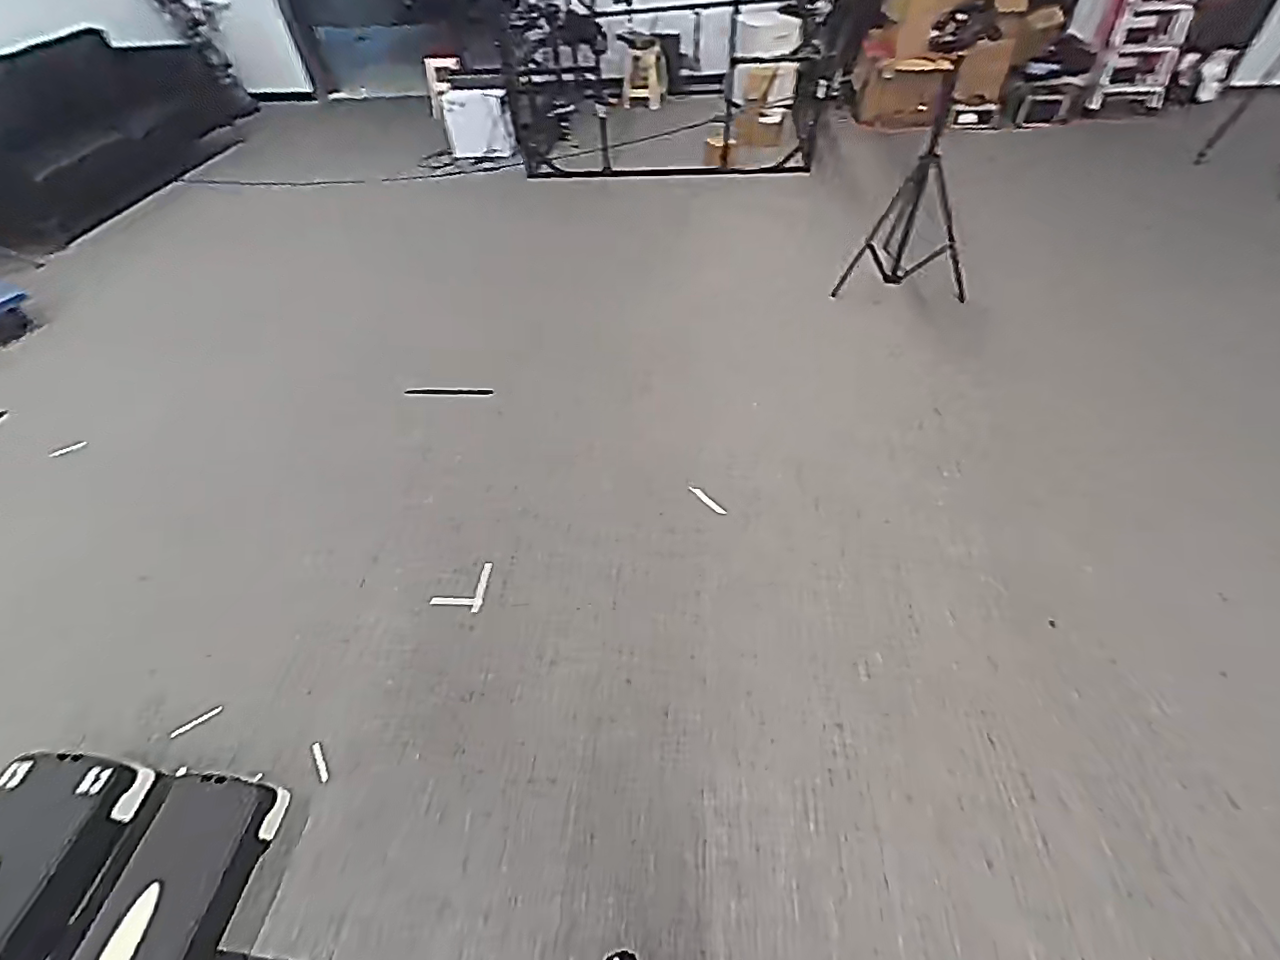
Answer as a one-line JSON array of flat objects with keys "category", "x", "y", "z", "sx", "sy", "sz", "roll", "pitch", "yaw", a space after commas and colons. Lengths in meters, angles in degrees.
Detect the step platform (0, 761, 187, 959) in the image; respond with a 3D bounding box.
[{"category": "step platform", "x": -1.277, "y": 0.941, "z": 1.067, "sx": 0.286, "sy": 0.204, "sz": 0.684, "roll": 2, "pitch": 47, "yaw": 5}]
